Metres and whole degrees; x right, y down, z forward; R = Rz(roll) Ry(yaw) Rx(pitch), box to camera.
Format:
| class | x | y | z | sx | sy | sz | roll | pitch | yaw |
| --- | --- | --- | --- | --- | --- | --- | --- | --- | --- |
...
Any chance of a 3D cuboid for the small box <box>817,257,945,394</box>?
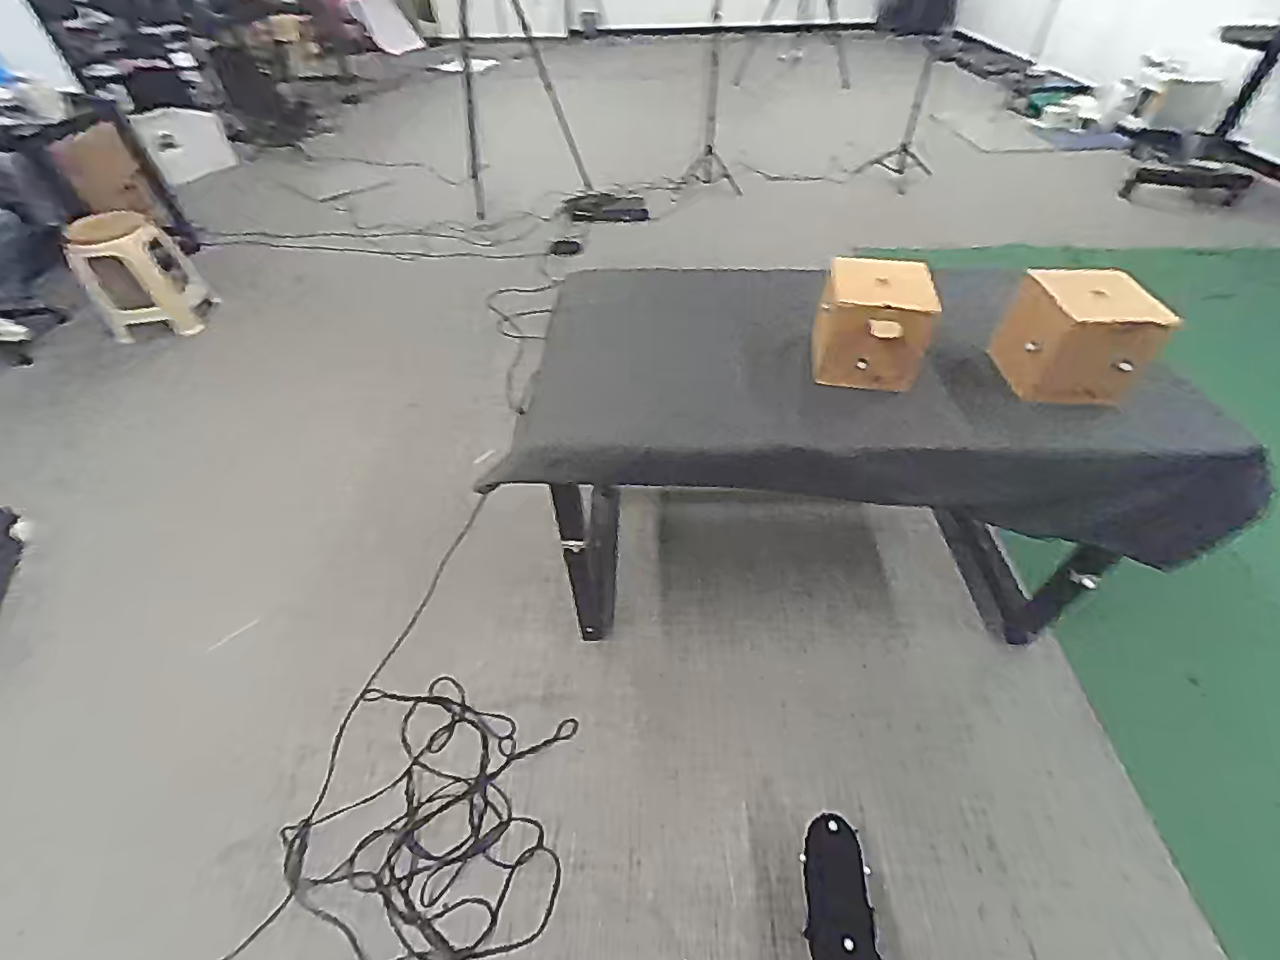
| class | x | y | z | sx | sy | sz | roll | pitch | yaw |
| --- | --- | --- | --- | --- | --- | --- | --- | --- | --- |
| small box | 0.427 | -0.284 | 0.993 | 0.168 | 0.176 | 0.179 | 8 | 47 | 8 |

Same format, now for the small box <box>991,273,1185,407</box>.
| class | x | y | z | sx | sy | sz | roll | pitch | yaw |
| --- | --- | --- | --- | --- | --- | --- | --- | --- | --- |
| small box | 0.762 | -0.243 | 0.946 | 0.168 | 0.176 | 0.179 | 2 | 45 | 2 |
